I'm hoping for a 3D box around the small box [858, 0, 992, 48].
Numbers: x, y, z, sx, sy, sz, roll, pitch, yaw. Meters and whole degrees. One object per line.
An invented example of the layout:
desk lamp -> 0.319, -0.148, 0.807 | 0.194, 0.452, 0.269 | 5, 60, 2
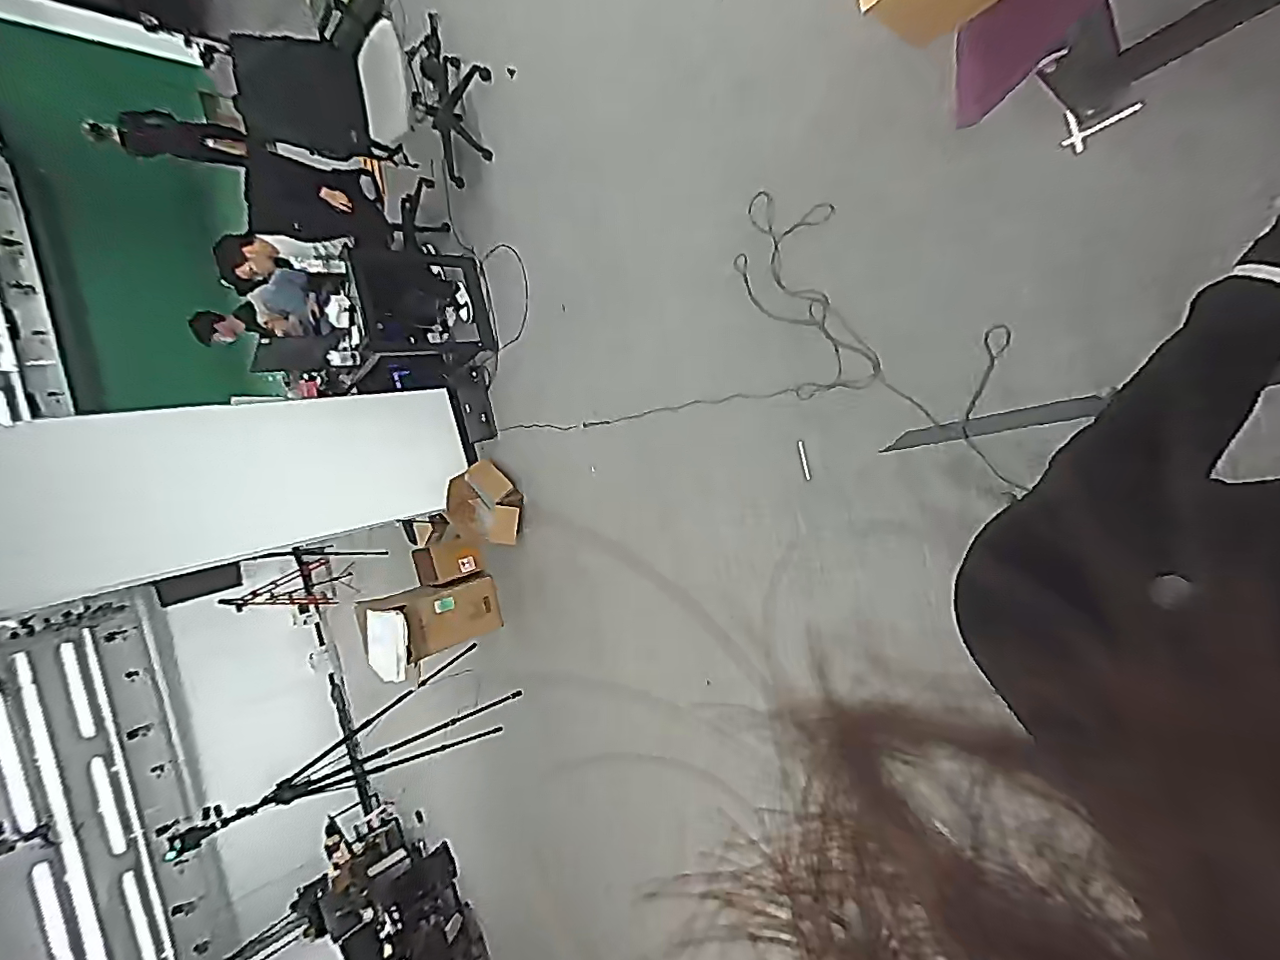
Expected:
small box -> 0.376, -0.689, 0.663 | 0.179, 0.176, 0.168 | -10, 93, 49
